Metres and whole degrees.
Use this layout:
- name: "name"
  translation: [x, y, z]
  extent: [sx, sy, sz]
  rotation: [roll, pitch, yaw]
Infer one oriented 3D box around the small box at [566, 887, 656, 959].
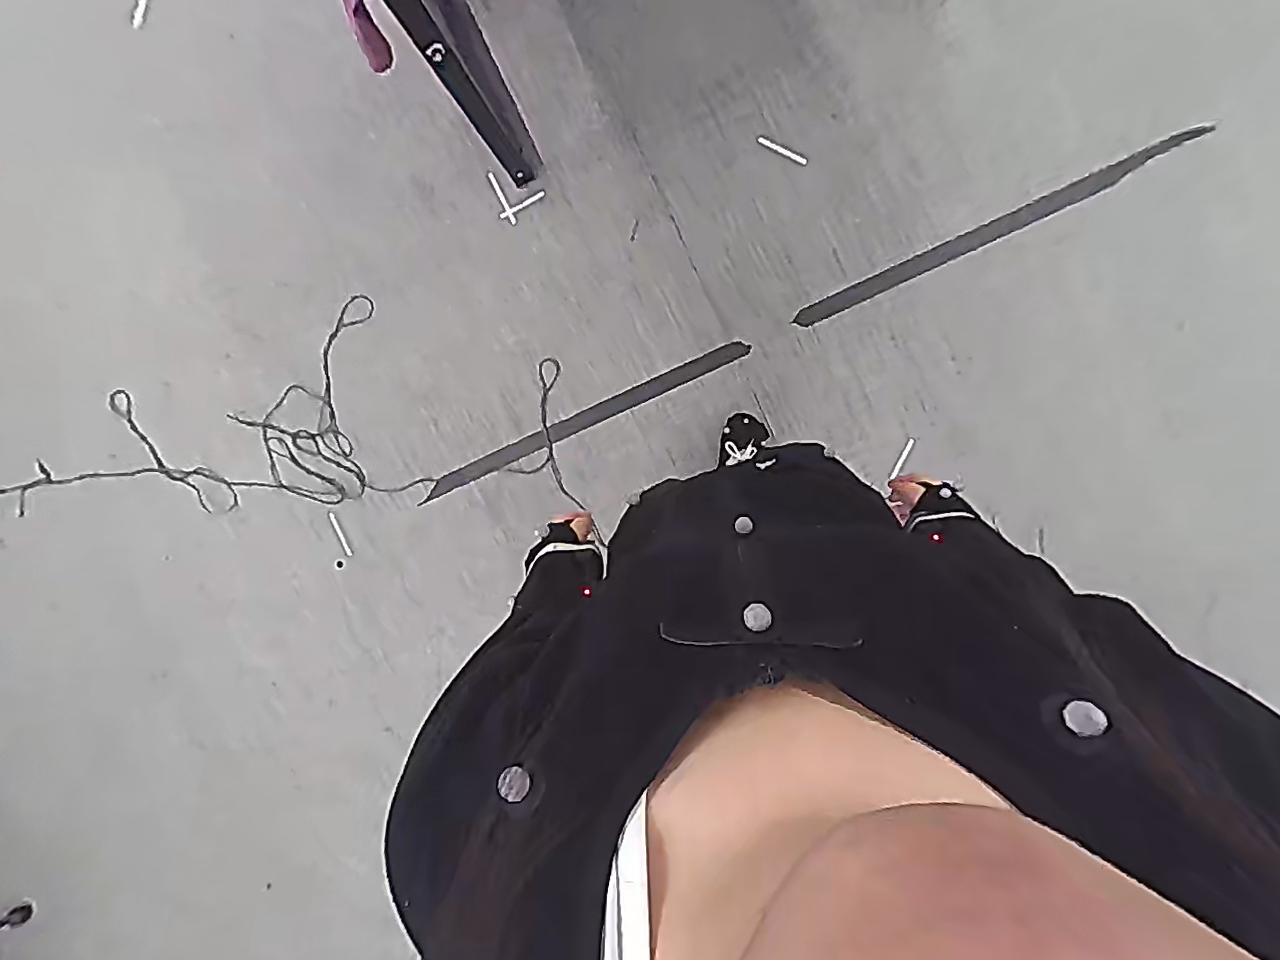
- name: "small box"
  translation: [-0.071, 1.079, 1.208]
  extent: [0.168, 0.176, 0.179]
  rotation: [25, 96, 4]
